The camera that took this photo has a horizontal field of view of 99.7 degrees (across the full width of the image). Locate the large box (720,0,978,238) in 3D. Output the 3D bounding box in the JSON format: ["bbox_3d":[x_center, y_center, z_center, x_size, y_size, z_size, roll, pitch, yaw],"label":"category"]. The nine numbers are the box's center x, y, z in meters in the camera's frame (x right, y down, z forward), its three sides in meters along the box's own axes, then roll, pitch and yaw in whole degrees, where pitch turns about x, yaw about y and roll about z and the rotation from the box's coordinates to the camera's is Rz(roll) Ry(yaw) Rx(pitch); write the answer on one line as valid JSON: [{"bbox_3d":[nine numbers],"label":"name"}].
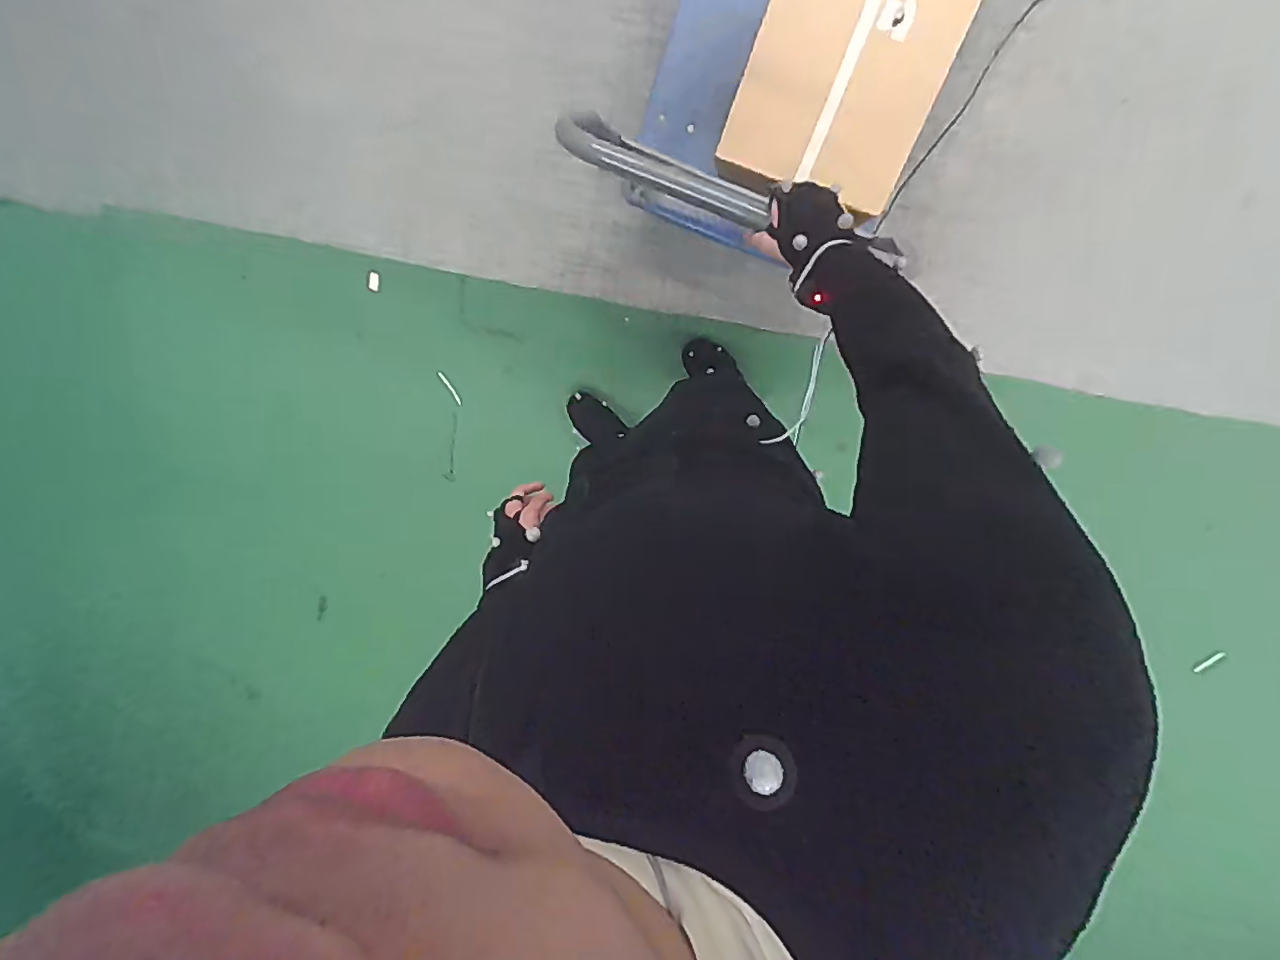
[{"bbox_3d":[0.369,-0.735,1.040,0.320,0.320,0.408,22,109,1],"label":"large box"}]
